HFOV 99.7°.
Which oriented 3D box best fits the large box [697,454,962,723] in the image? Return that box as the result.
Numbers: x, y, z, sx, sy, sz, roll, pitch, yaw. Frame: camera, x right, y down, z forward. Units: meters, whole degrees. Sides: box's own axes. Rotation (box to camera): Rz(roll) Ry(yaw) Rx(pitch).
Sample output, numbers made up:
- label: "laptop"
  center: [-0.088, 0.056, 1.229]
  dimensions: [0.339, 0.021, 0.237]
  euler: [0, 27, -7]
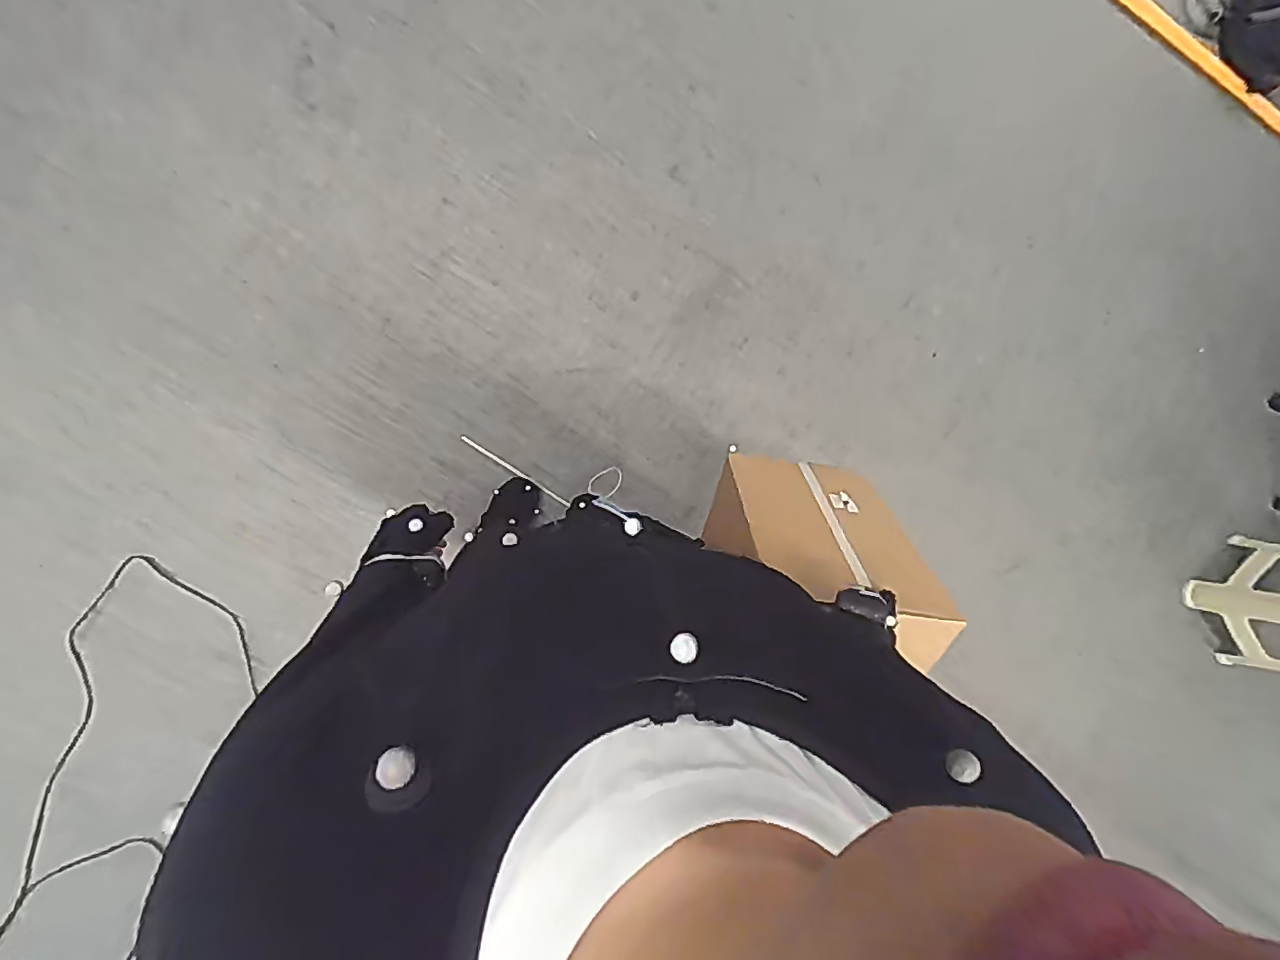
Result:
- label: "large box"
  center: [0.310, 0.199, 1.043]
  dimensions: [0.320, 0.408, 0.320]
  euler: [8, 124, -7]
